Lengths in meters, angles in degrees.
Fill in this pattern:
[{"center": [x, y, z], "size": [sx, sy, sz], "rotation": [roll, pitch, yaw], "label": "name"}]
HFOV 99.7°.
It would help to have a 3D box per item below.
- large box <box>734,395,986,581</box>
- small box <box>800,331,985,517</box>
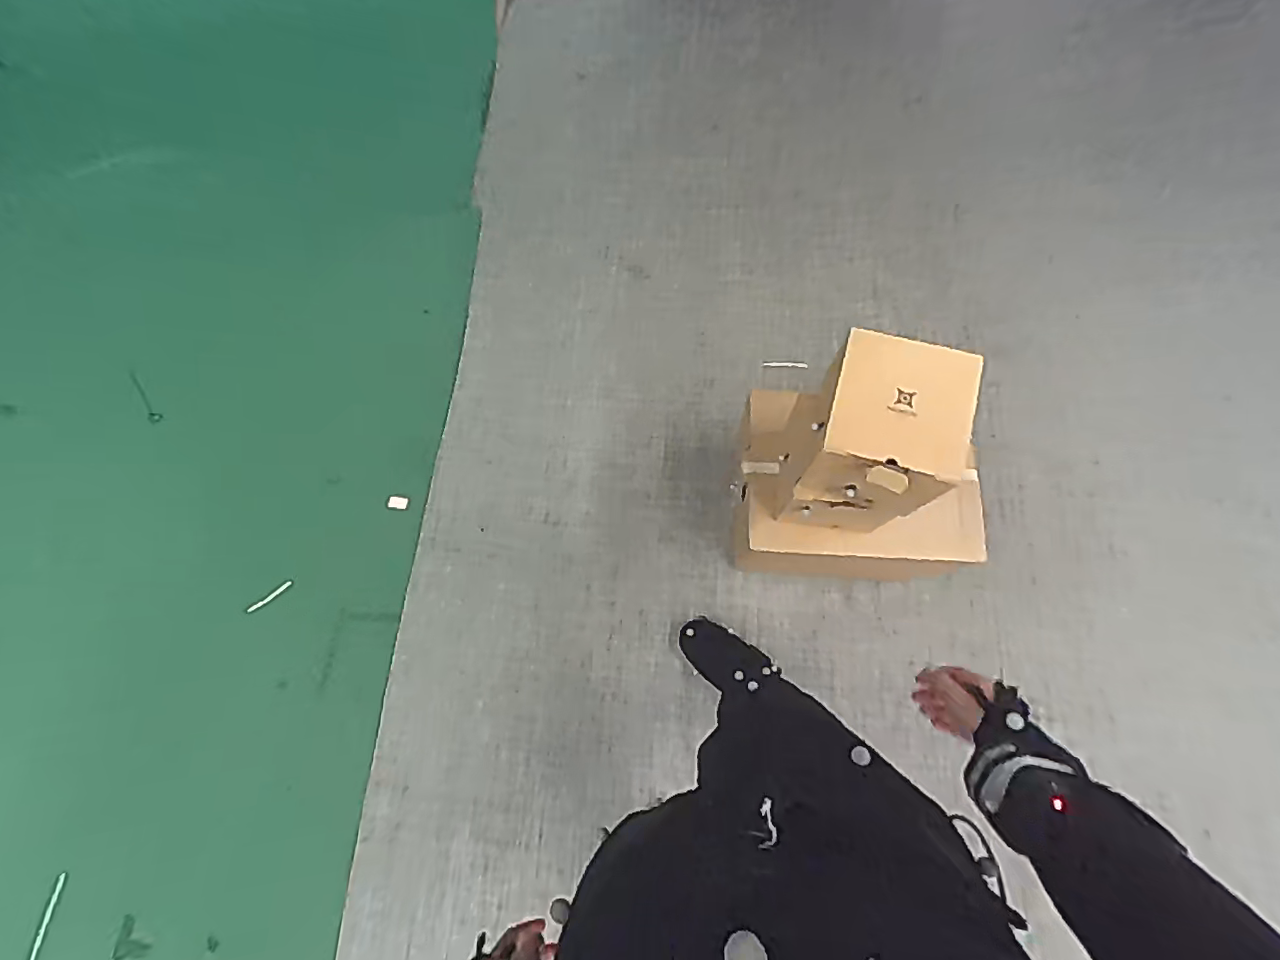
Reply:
[{"center": [0.411, 0.033, 1.122], "size": [0.408, 0.320, 0.320], "rotation": [3, 74, 4], "label": "large box"}, {"center": [0.329, -0.067, 0.733], "size": [0.168, 0.176, 0.179], "rotation": [16, 76, 9], "label": "small box"}]
